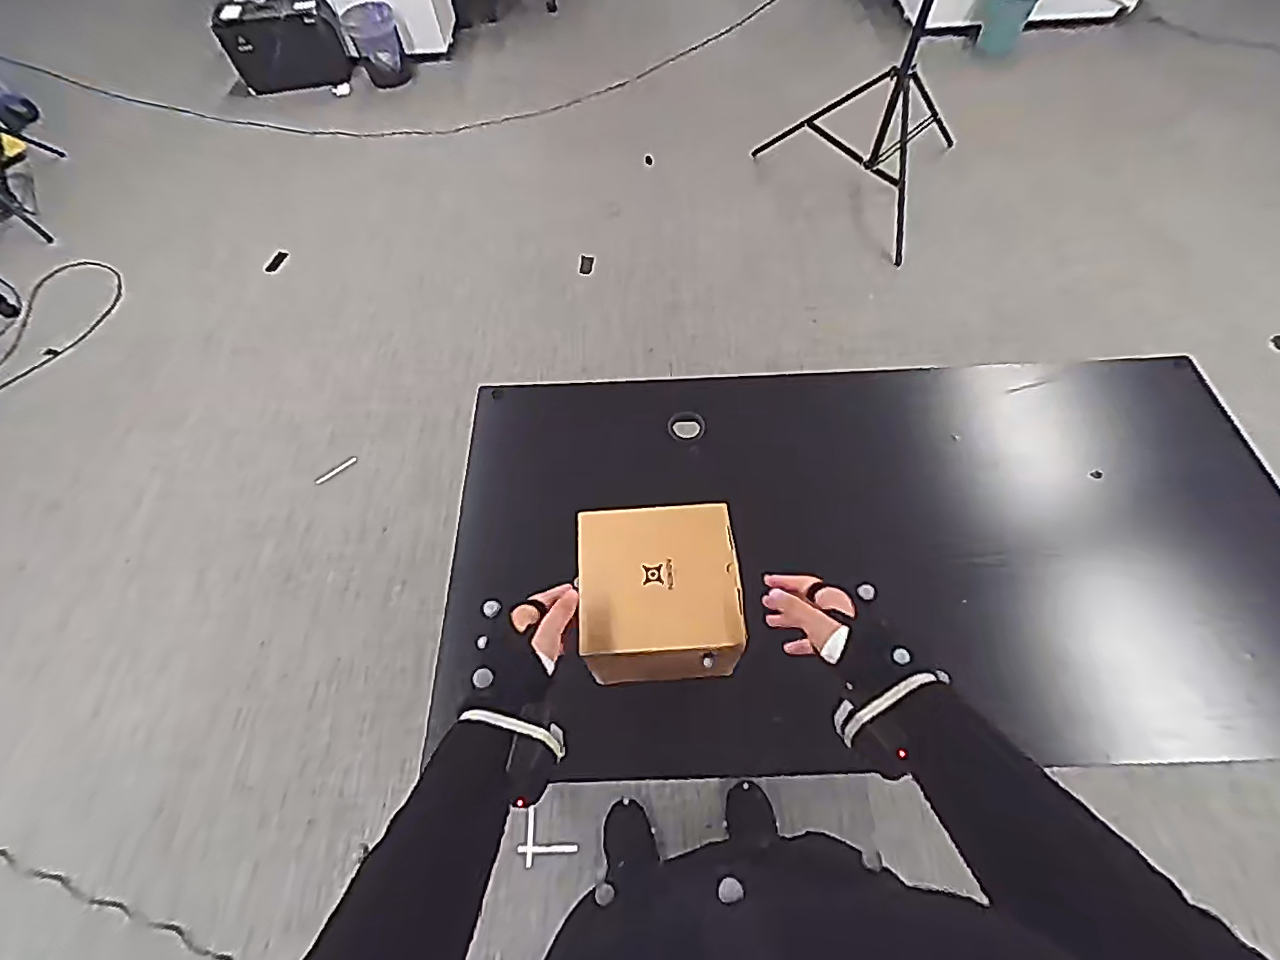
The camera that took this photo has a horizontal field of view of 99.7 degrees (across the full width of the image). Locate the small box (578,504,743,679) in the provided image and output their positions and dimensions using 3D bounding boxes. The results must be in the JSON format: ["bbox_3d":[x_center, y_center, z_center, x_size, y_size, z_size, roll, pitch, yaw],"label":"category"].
[{"bbox_3d":[0.021,0.145,0.671,0.179,0.176,0.168,-4,60,-1],"label":"small box"}]
